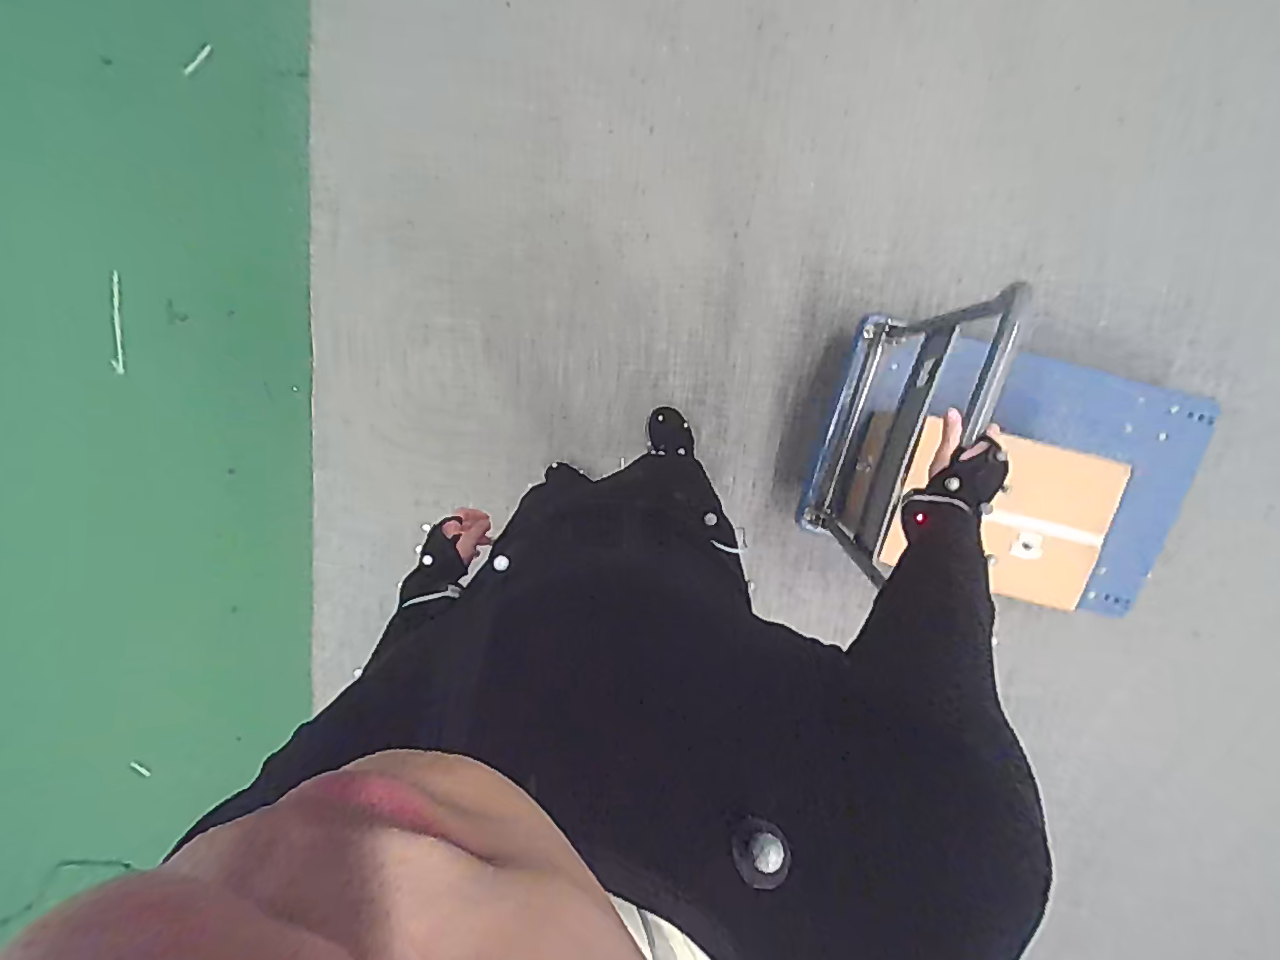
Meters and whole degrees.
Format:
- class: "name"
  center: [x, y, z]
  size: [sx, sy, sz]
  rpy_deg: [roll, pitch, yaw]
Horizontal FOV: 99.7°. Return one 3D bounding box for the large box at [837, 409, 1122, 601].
- class: "large box"
  center: [0.724, 0.032, 1.232]
  size: [0.408, 0.320, 0.320]
  rpy_deg: [15, 101, 2]
